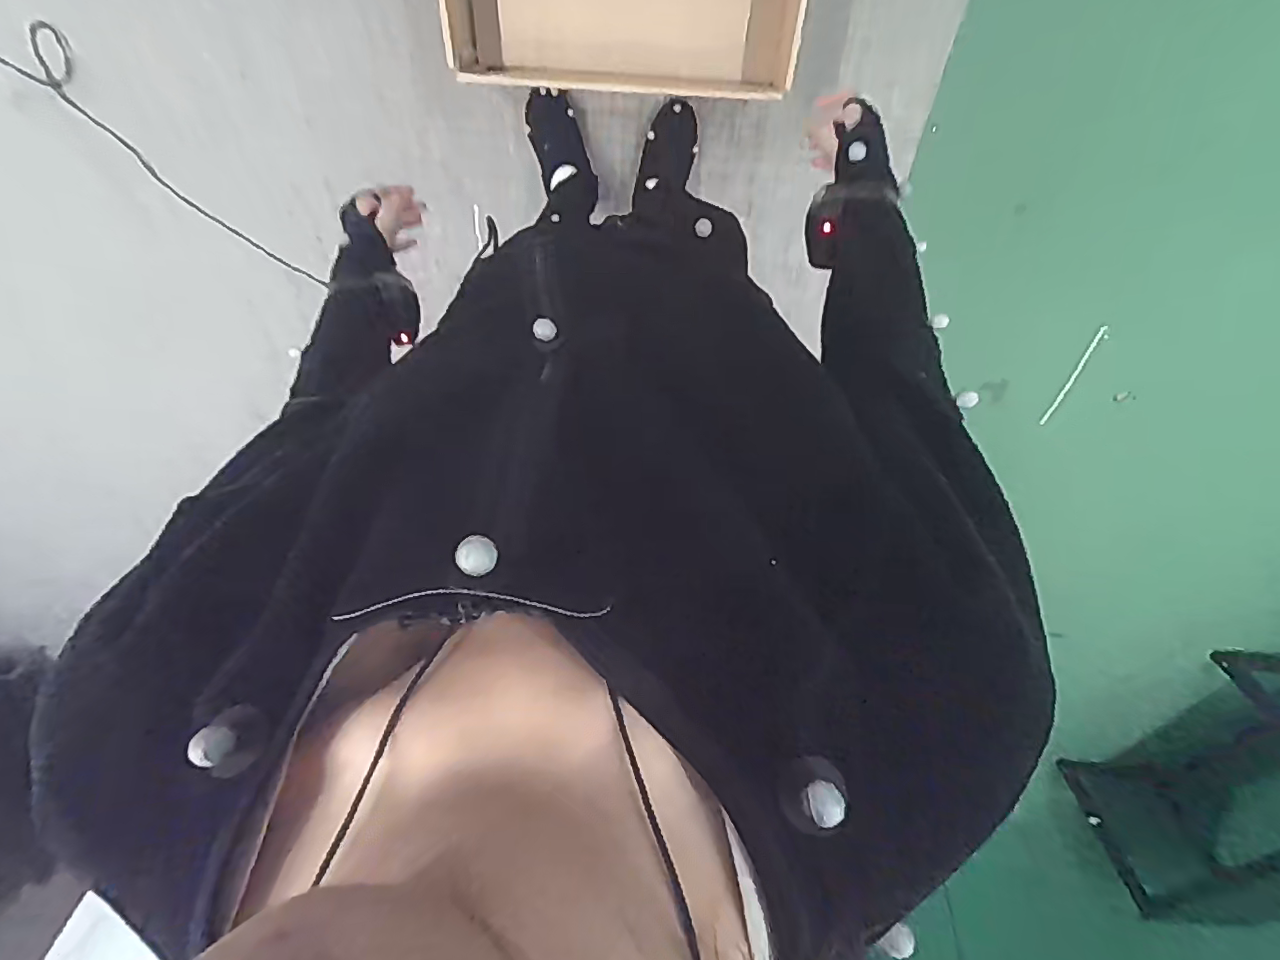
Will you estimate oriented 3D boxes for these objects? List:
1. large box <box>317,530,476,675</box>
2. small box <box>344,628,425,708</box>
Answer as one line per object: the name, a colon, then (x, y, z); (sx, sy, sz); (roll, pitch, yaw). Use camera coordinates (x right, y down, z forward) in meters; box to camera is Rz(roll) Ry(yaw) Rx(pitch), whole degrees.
large box: (-0.875, 0.450, 1.979); (0.408, 0.320, 0.320); (28, 124, -19)
small box: (-0.848, 0.628, 1.809); (0.168, 0.176, 0.179); (31, 124, -22)
